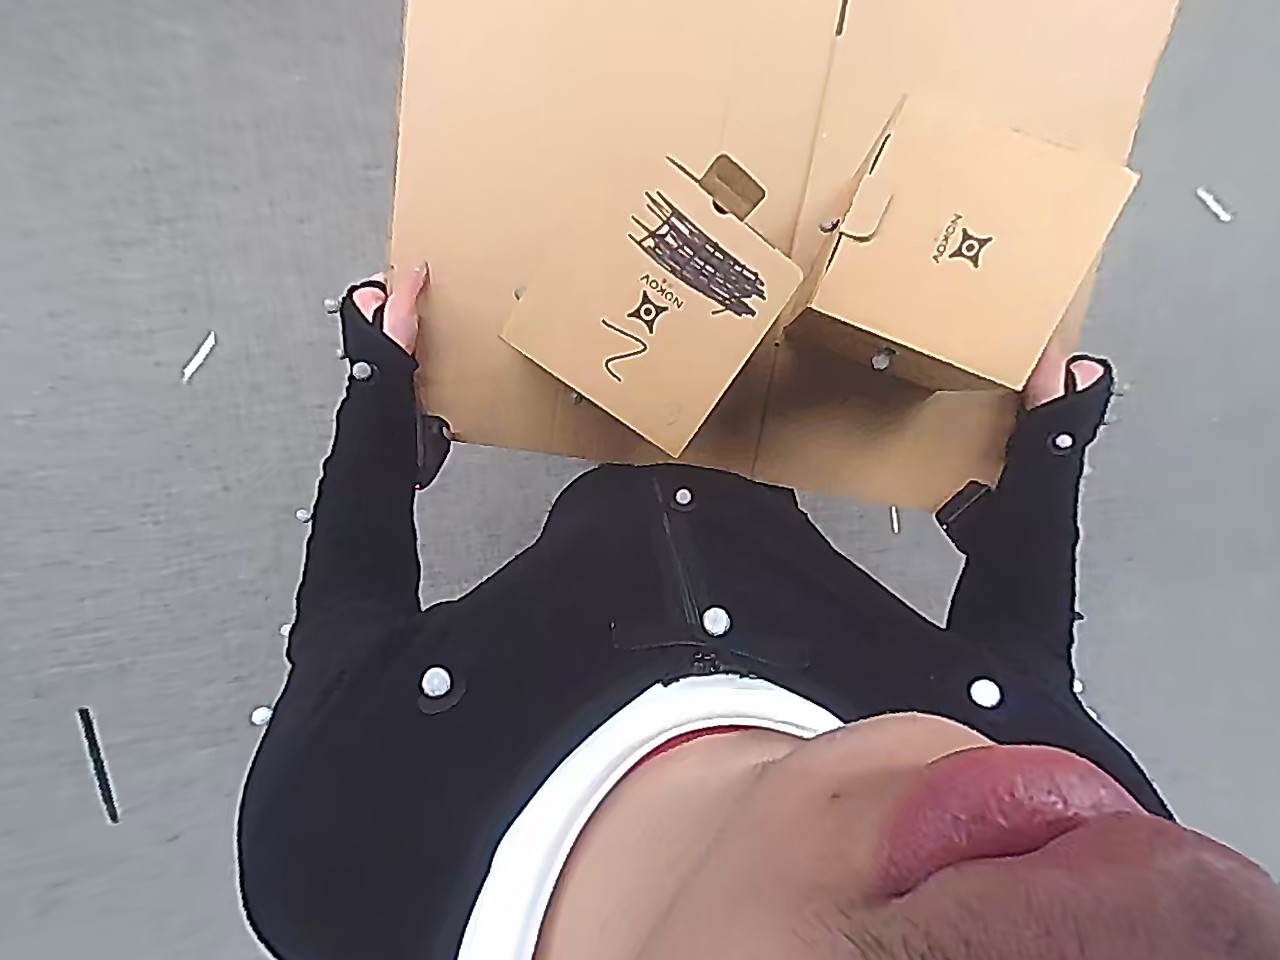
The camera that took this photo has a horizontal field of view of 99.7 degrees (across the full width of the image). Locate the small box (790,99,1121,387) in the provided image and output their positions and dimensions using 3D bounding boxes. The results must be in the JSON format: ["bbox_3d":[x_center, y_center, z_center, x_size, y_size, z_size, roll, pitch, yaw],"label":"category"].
[{"bbox_3d":[0.257,-0.195,0.495,0.179,0.176,0.168,23,102,5],"label":"small box"}]
